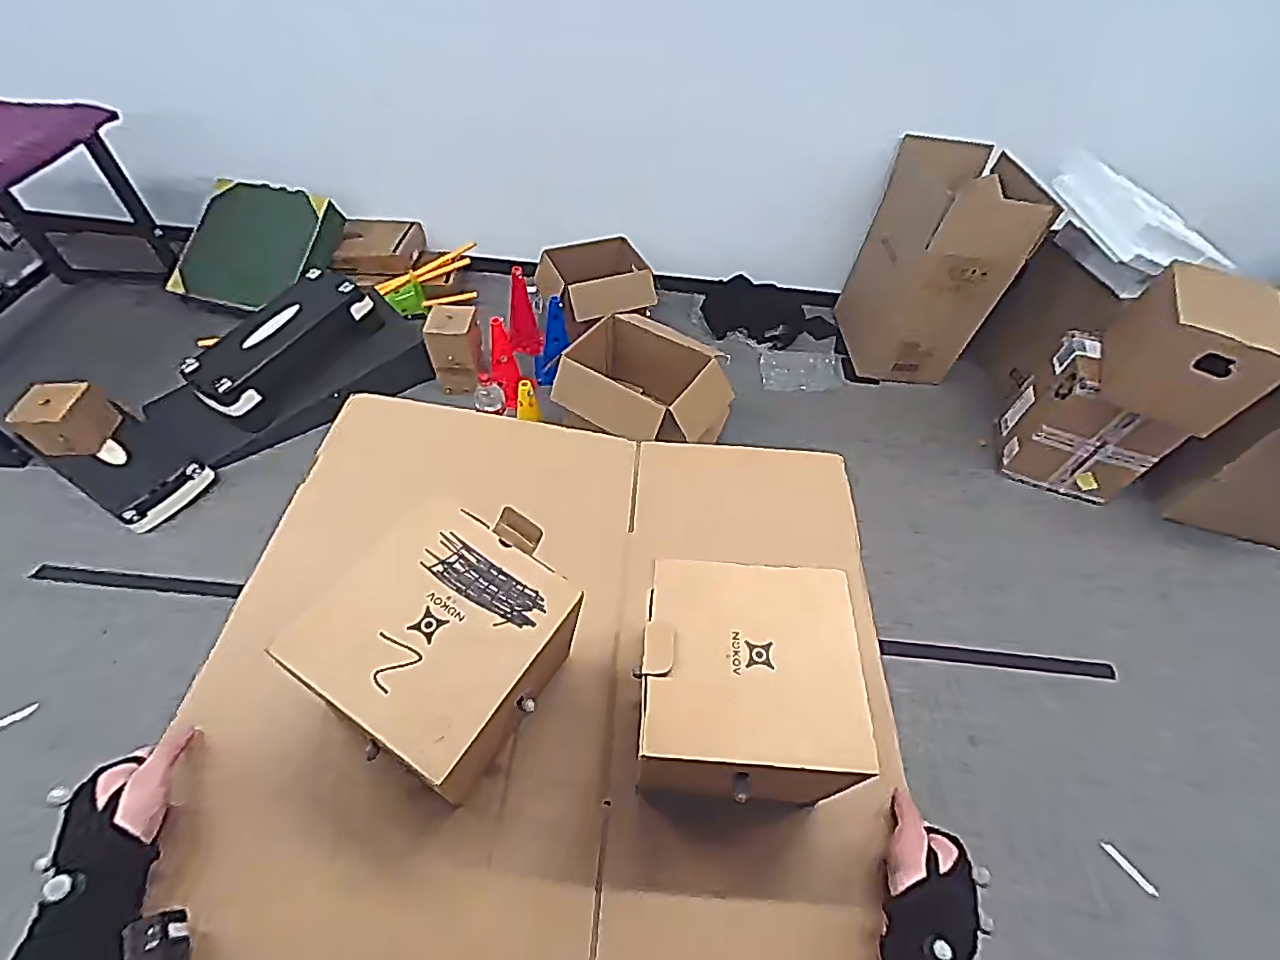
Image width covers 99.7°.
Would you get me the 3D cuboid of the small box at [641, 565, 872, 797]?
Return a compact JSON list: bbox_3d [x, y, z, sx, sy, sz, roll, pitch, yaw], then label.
[{"bbox_3d":[0.094,0.197,0.519,0.179,0.176,0.168,3,53,2],"label":"small box"}]
